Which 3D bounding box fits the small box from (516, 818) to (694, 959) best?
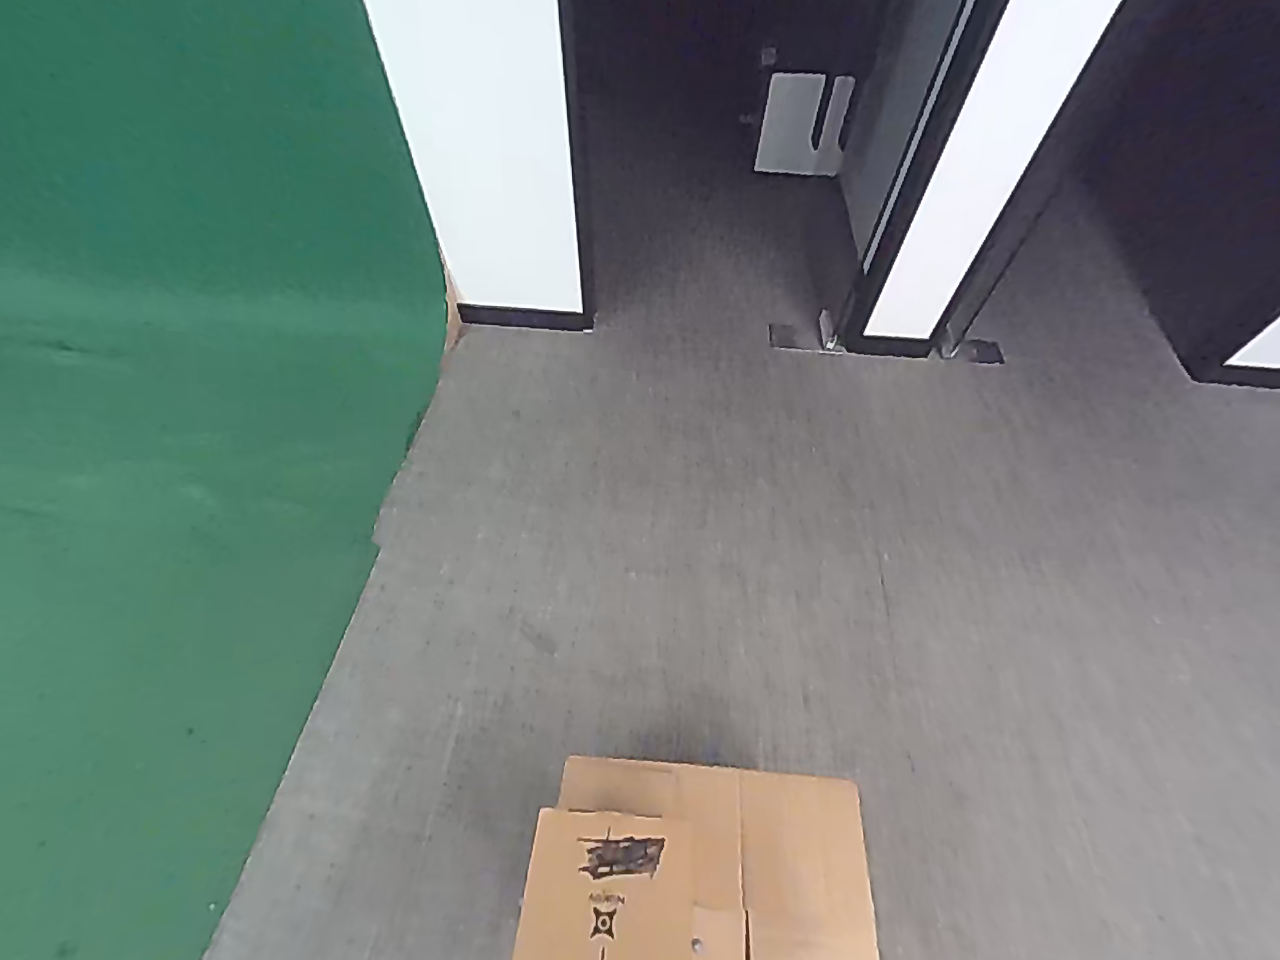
[{"bbox_3d":[-0.032,0.491,0.574,0.168,0.176,0.179,2,42,4],"label":"small box"}]
